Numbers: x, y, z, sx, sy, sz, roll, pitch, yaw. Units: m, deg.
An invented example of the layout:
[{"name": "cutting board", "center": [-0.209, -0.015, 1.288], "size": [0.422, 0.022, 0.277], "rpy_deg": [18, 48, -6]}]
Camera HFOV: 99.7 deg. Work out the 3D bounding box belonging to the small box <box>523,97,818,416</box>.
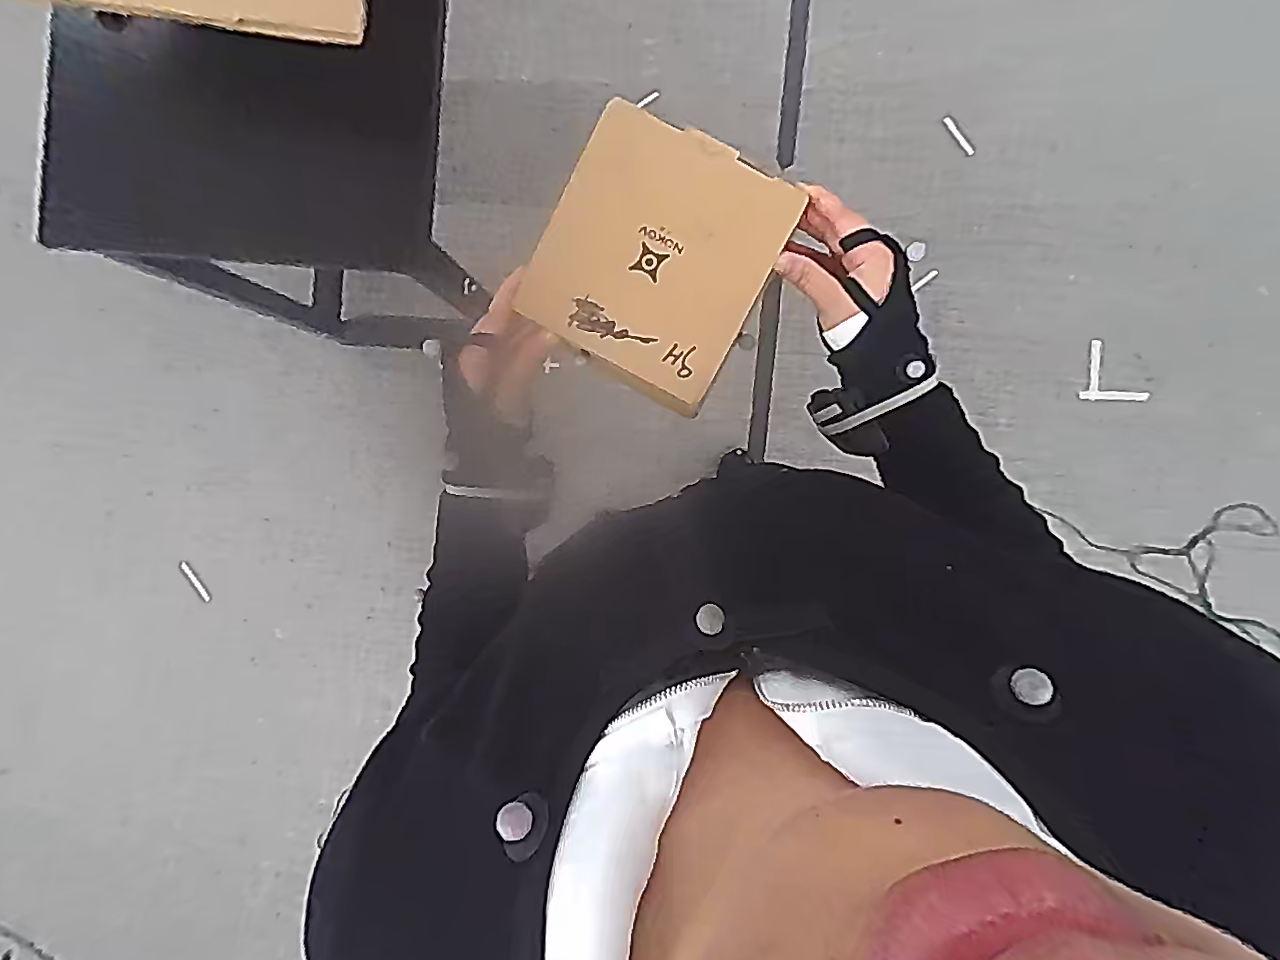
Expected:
[{"name": "small box", "center": [0.026, -0.174, 0.482], "size": [0.168, 0.176, 0.179], "rpy_deg": [29, 94, 4]}]
